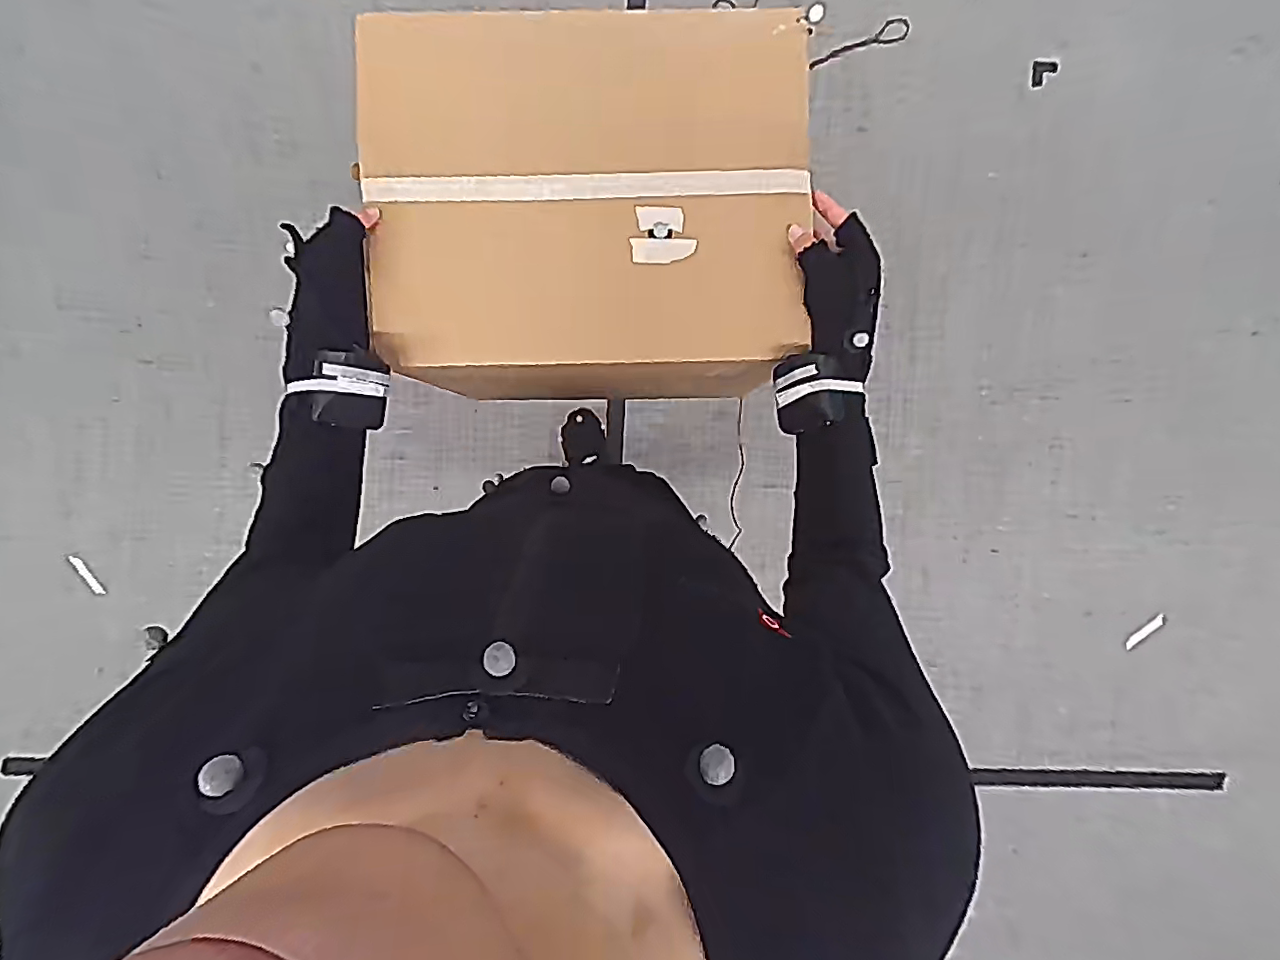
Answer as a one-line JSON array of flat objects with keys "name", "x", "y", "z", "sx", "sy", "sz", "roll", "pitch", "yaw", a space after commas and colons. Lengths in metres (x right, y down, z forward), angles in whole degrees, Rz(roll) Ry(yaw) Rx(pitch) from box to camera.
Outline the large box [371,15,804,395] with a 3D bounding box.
[{"name": "large box", "x": -0.050, "y": -0.281, "z": 0.656, "sx": 0.408, "sy": 0.320, "sz": 0.320, "roll": -1, "pitch": 93, "yaw": -1}]
